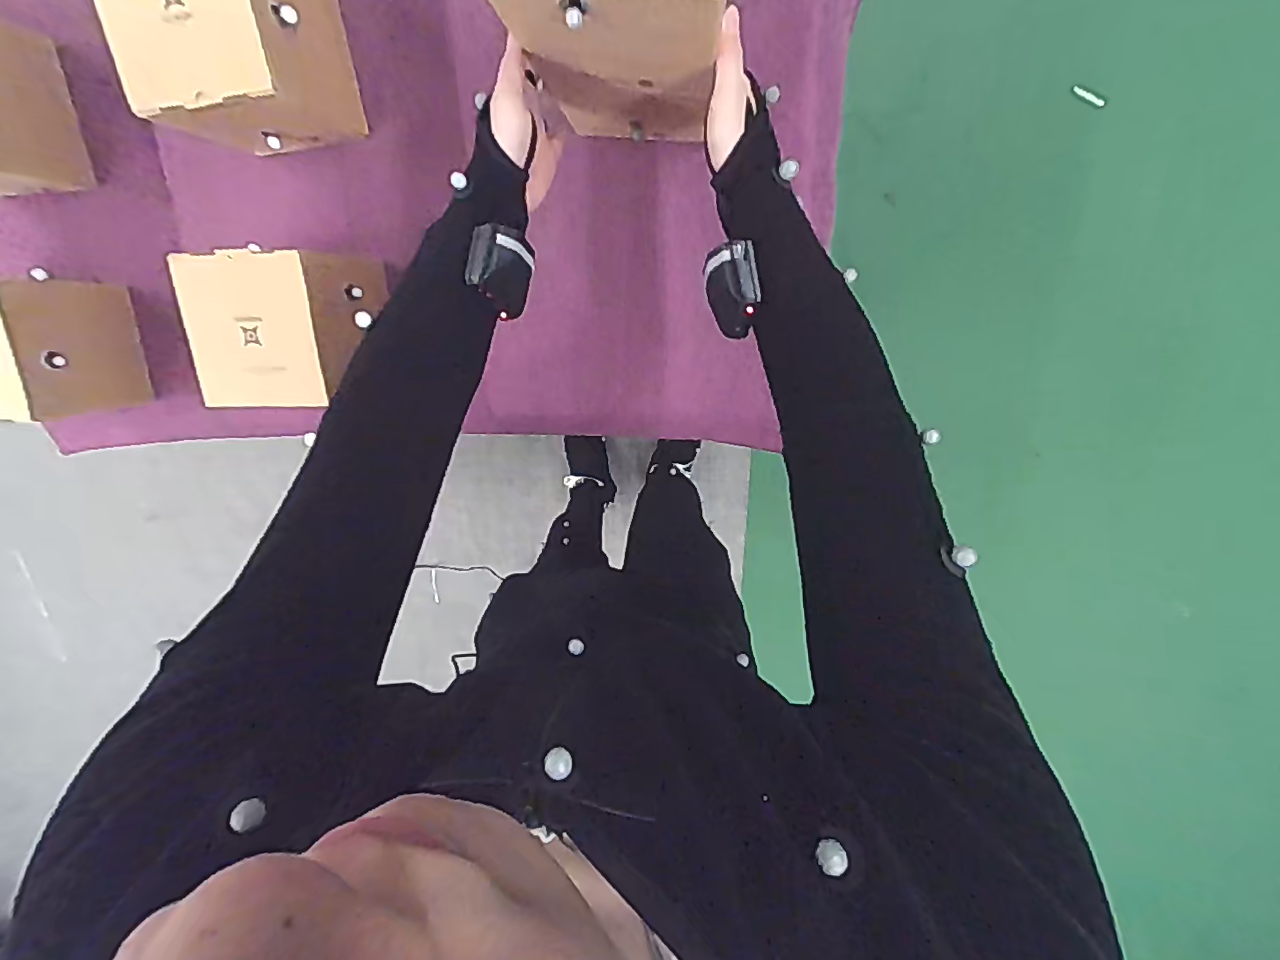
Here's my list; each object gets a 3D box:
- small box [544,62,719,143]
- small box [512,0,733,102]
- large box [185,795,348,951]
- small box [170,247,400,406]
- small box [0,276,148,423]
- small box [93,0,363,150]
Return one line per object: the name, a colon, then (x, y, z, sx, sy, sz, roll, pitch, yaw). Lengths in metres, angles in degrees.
small box: (0.005, -0.473, 0.552, 0.168, 0.176, 0.179, 6, 109, 4)
small box: (-0.006, -0.418, 0.398, 0.168, 0.176, 0.179, 8, 108, 3)
large box: (-1.441, 1.518, 2.108, 0.408, 0.320, 0.320, 23, 110, -4)
small box: (-0.437, -0.197, 0.698, 0.168, 0.176, 0.179, 1, 109, 6)
small box: (-0.835, -0.184, 0.740, 0.168, 0.176, 0.179, 3, 108, 4)
small box: (-0.443, -0.492, 0.596, 0.168, 0.176, 0.179, -4, 110, 6)
